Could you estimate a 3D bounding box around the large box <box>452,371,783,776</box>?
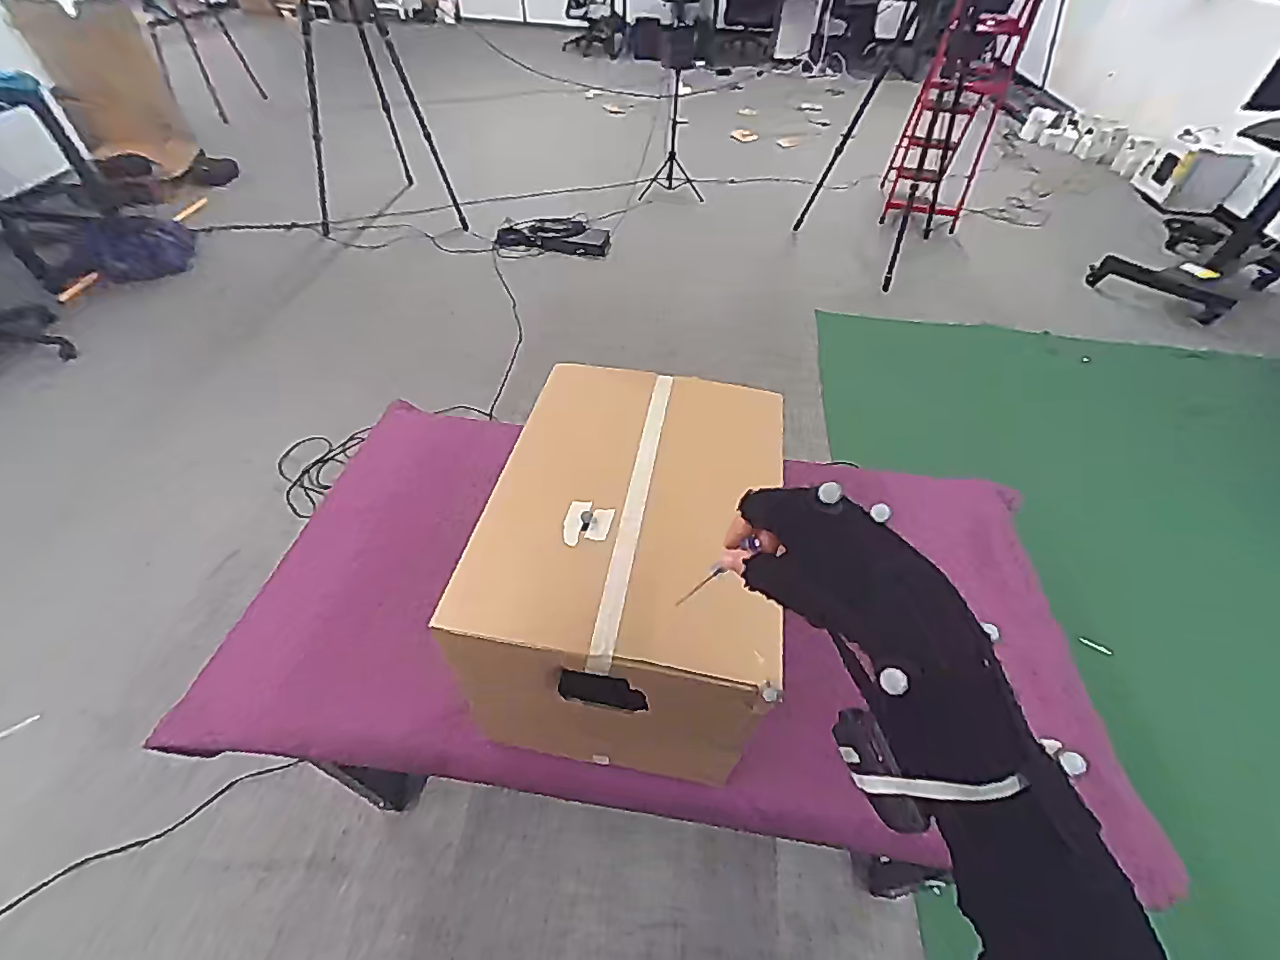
[{"bbox_3d":[-0.002,0.115,0.725,0.320,0.320,0.408,9,49,5],"label":"large box"}]
